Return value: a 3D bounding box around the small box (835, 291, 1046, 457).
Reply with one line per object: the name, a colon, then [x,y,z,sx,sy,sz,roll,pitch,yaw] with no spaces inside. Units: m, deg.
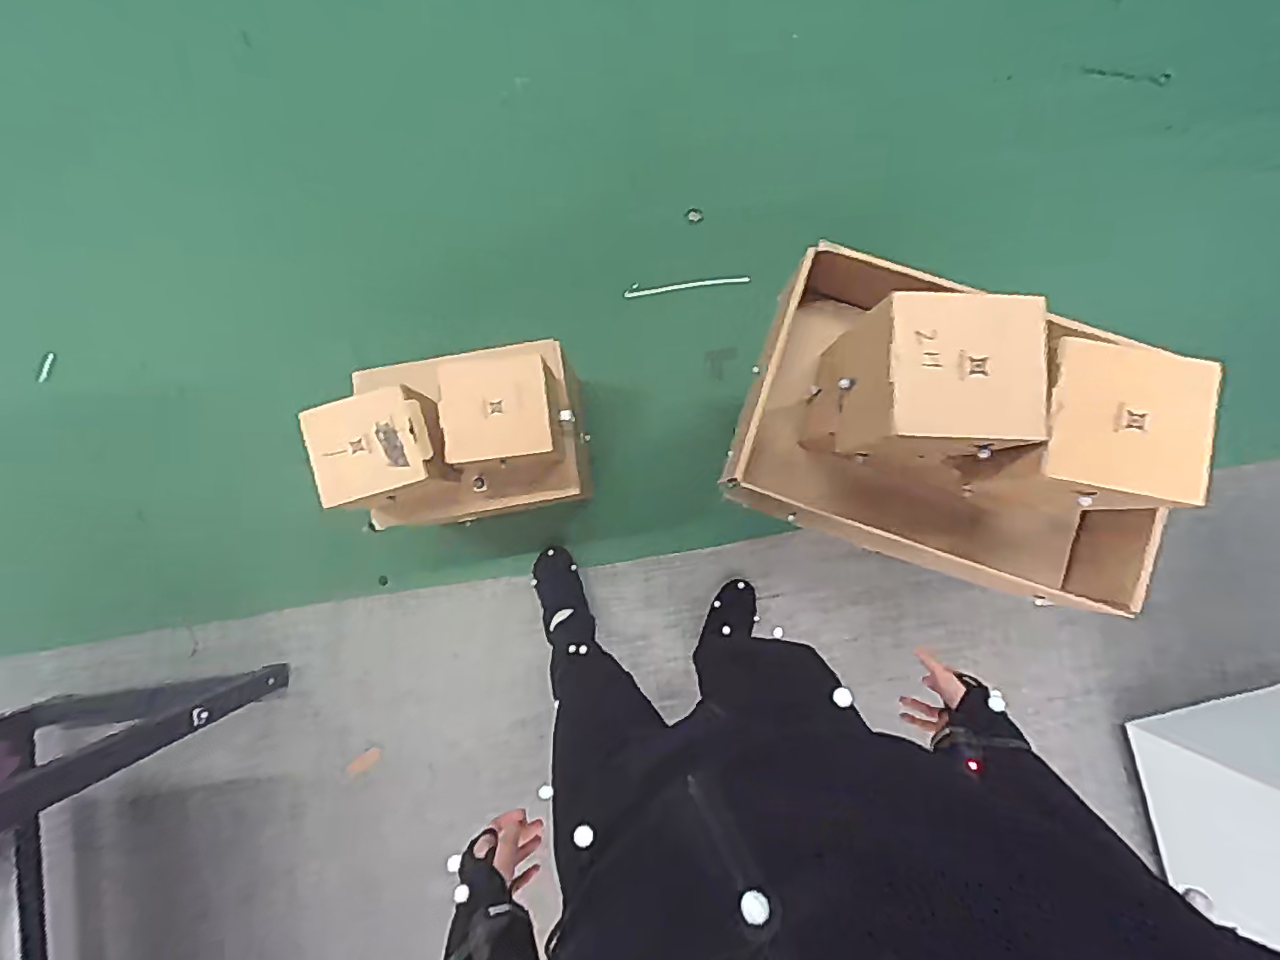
small box: [0.366,-0.122,0.683,0.179,0.176,0.168,2,86,0]
